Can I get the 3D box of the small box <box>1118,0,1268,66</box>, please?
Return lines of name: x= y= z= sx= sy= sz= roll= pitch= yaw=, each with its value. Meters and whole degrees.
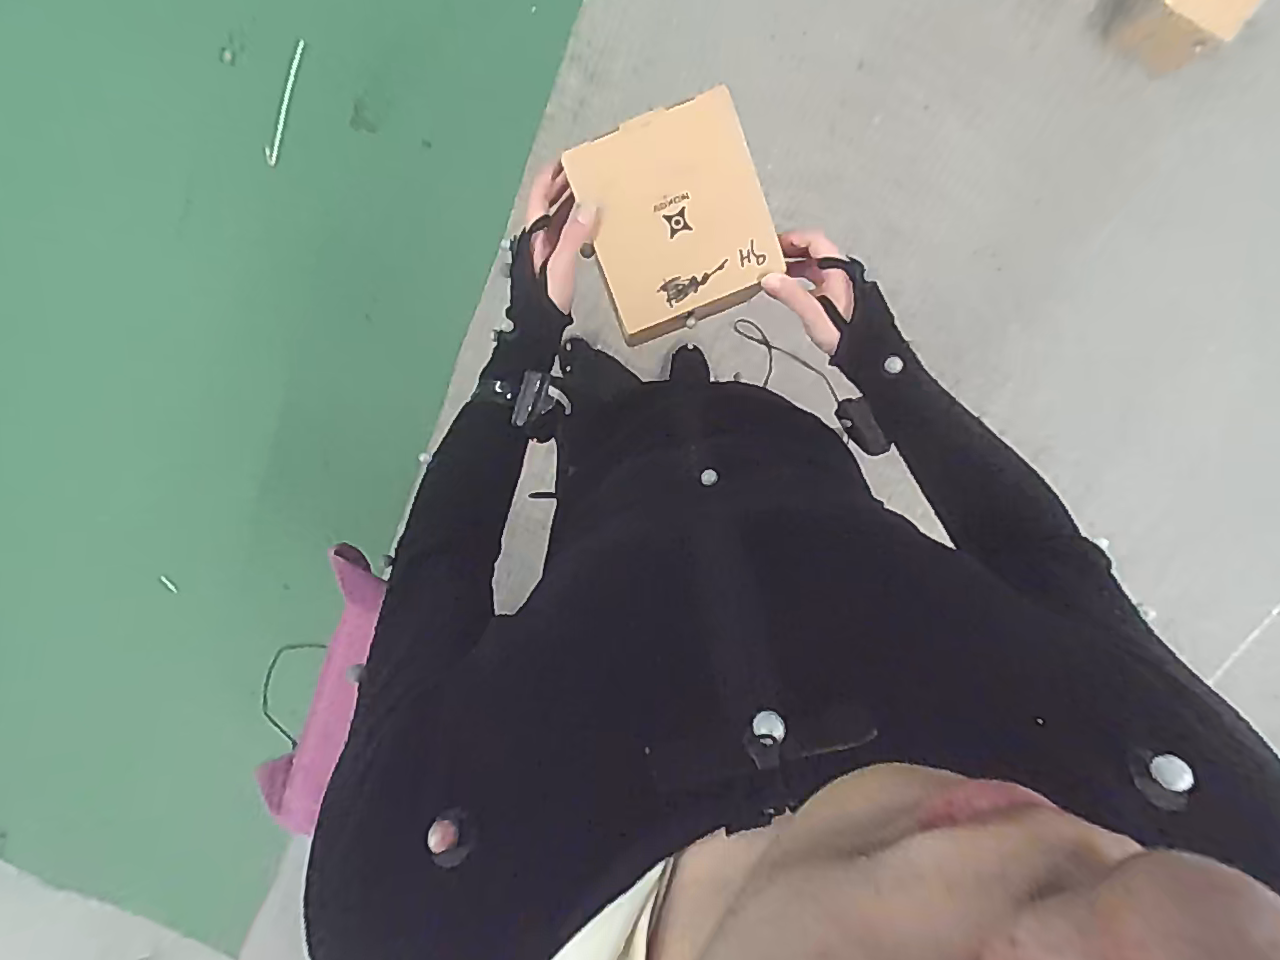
small box: x=1.188 y=-1.029 z=1.143 sx=0.179 sy=0.176 sz=0.168 roll=27 pitch=107 yaw=-4
